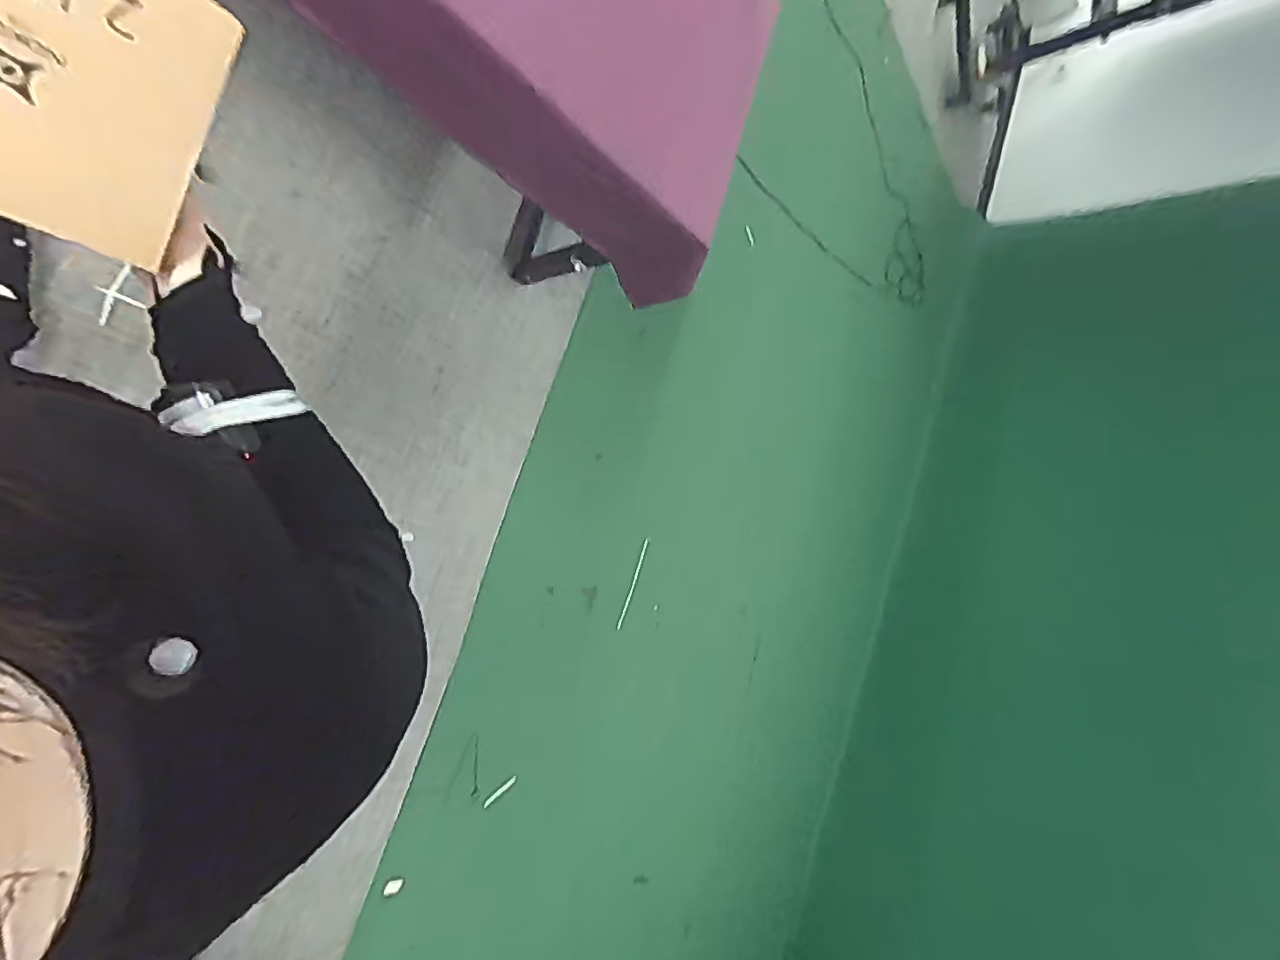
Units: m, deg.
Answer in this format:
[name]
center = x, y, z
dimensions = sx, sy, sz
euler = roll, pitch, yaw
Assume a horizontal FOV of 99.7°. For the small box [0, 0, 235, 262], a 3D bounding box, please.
[small box]
center = -0.395, -0.275, 0.351
dimensions = 0.168, 0.176, 0.179
euler = 18, 103, -47
